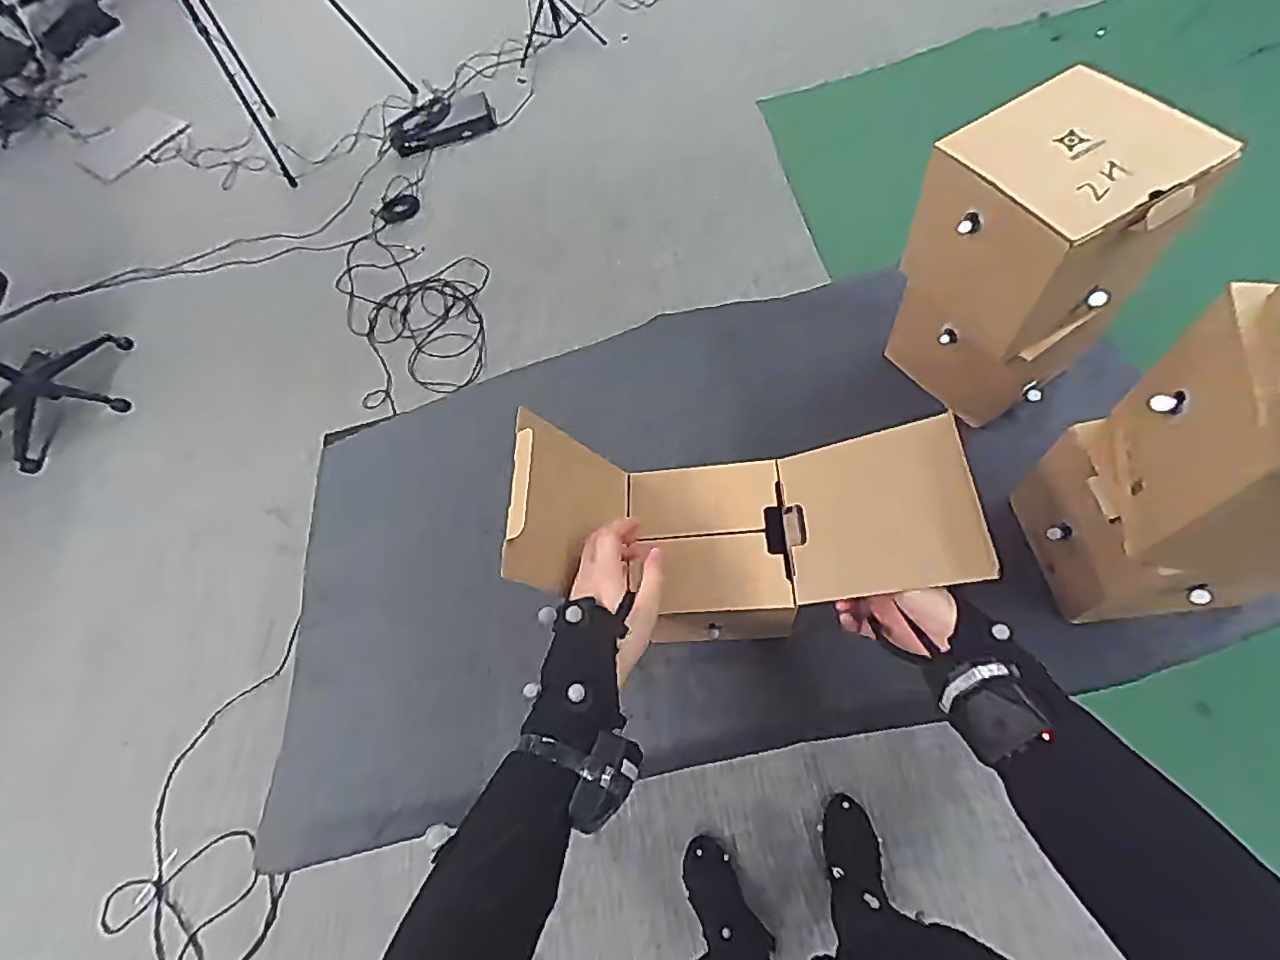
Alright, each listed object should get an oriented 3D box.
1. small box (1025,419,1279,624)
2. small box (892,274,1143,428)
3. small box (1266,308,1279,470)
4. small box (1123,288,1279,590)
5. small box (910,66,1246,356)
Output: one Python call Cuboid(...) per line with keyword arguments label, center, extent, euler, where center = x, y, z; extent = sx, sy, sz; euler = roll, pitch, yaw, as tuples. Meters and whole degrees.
Cuboid(label="small box", center=(0.540, 0.043, 0.561), extent=(0.179, 0.176, 0.168), euler=(-10, 60, 9))
Cuboid(label="small box", center=(0.461, -0.200, 0.700), extent=(0.168, 0.176, 0.179), euler=(-34, 64, -3))
Cuboid(label="small box", center=(0.482, -0.076, 0.258), extent=(0.179, 0.176, 0.168), euler=(20, 67, 22))
Cuboid(label="small box", center=(0.513, -0.020, 0.412), extent=(0.179, 0.176, 0.168), euler=(10, 64, 17))
Cuboid(label="small box", center=(0.412, -0.264, 0.555), extent=(0.168, 0.176, 0.179), euler=(-29, 63, 1))
